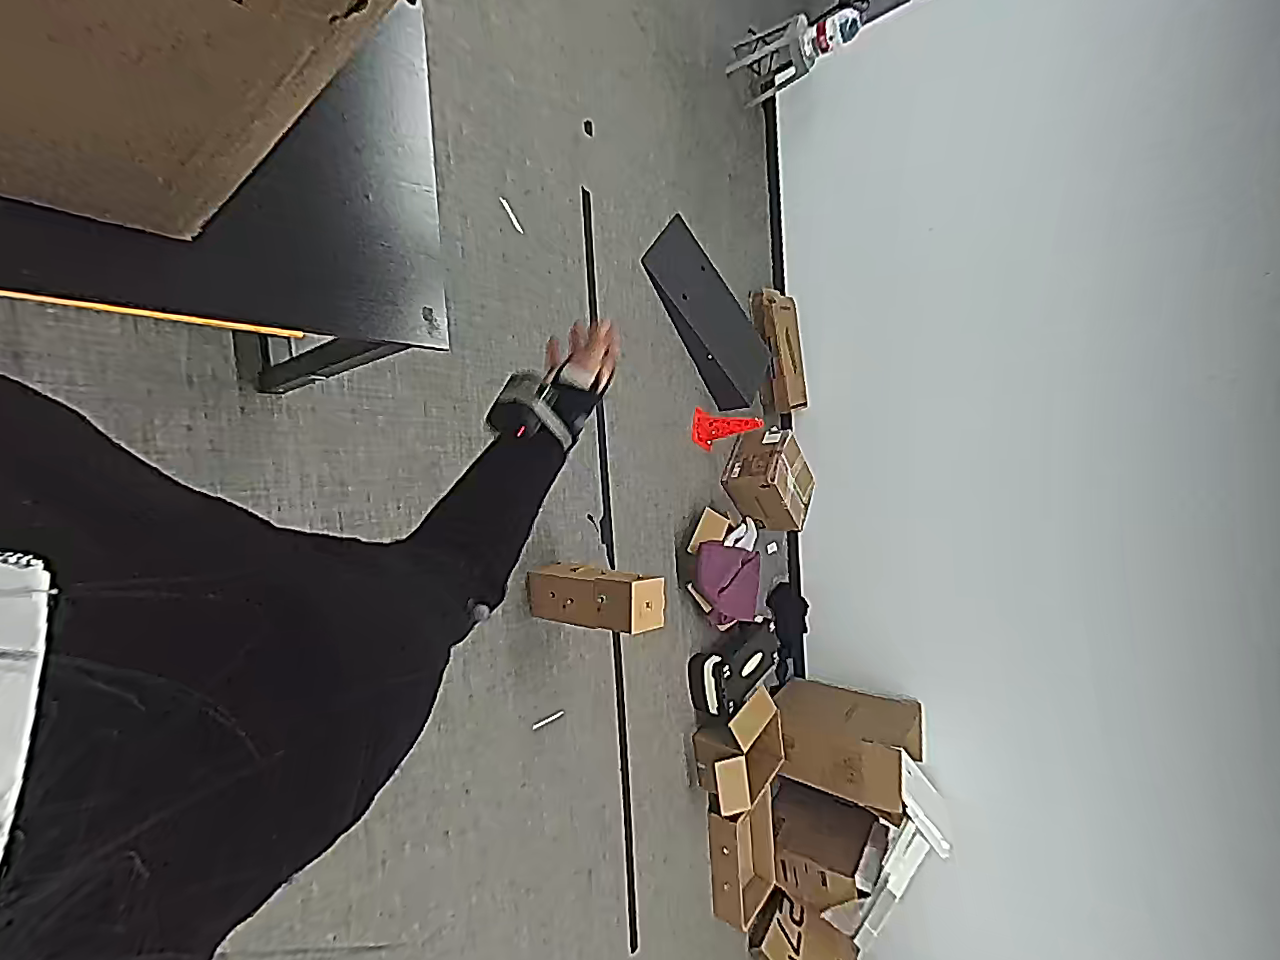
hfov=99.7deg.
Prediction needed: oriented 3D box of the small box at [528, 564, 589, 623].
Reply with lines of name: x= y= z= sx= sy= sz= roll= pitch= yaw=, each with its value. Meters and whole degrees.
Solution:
small box: x=-0.299 y=0.413 z=1.998 sx=0.168 sy=0.176 sz=0.179 roll=-10 pitch=97 yaw=-52

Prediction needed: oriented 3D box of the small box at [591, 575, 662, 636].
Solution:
small box: x=-0.043 y=0.409 z=1.793 sx=0.179 sy=0.176 sz=0.168 roll=4 pitch=84 yaw=-51

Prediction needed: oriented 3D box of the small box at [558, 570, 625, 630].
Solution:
small box: x=-0.168 y=0.414 z=1.898 sx=0.179 sy=0.176 sz=0.168 roll=-4 pitch=92 yaw=-52
